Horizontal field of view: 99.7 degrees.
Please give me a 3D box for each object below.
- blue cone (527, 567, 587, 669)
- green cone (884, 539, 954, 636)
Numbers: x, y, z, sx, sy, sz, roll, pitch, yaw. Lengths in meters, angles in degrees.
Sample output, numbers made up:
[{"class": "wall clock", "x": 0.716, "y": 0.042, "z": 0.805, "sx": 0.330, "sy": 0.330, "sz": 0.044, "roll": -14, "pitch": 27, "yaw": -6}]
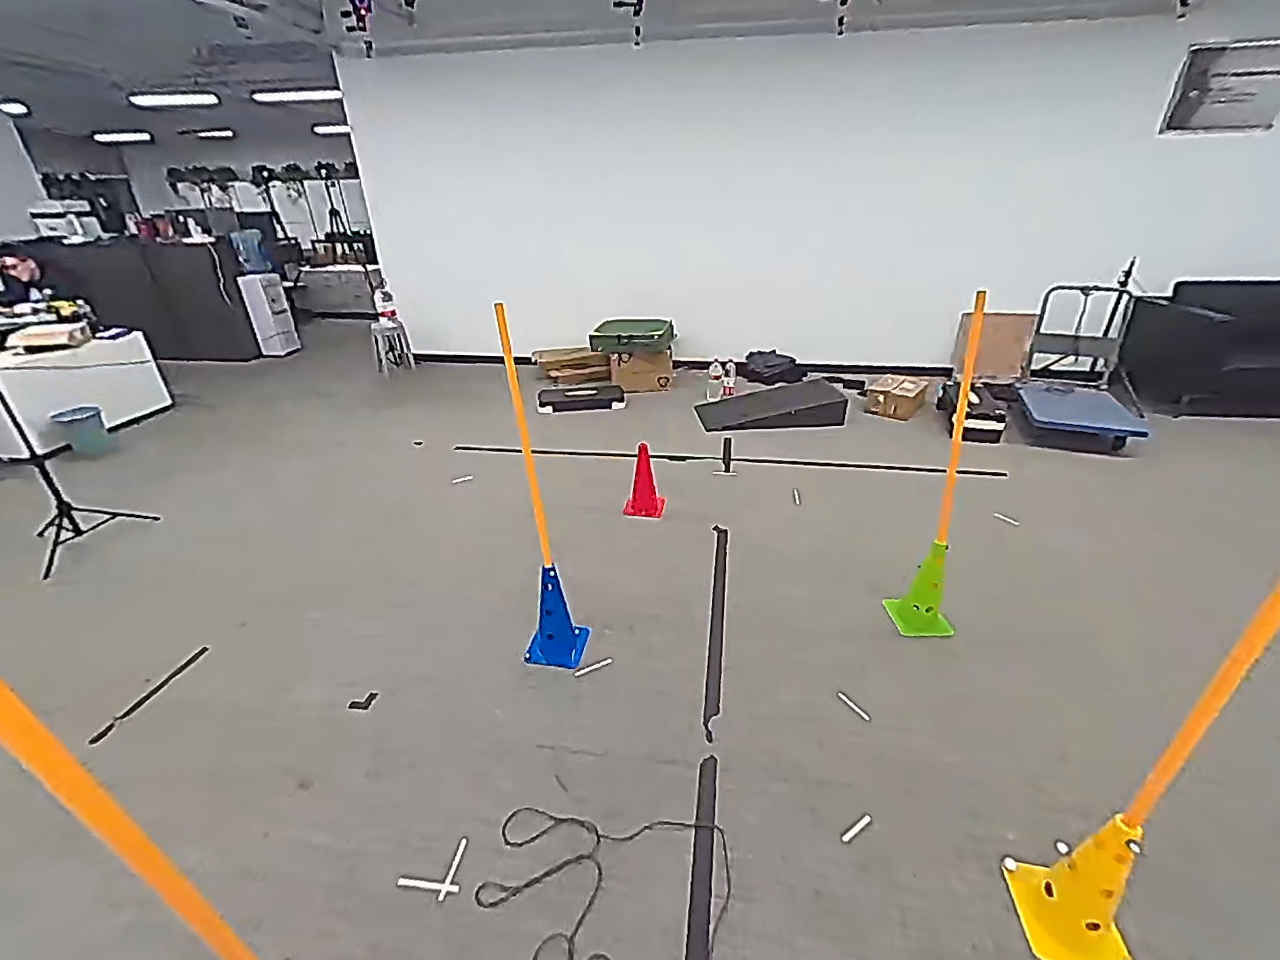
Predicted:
[{"class": "blue cone", "x": -0.300, "y": 0.457, "z": 1.884, "sx": 0.193, "sy": 0.380, "sz": 0.192, "roll": 5, "pitch": 29, "yaw": 11}, {"class": "green cone", "x": 1.059, "y": 0.372, "z": 1.984, "sx": 0.200, "sy": 0.368, "sz": 0.202, "roll": -1, "pitch": 29, "yaw": -1}]
